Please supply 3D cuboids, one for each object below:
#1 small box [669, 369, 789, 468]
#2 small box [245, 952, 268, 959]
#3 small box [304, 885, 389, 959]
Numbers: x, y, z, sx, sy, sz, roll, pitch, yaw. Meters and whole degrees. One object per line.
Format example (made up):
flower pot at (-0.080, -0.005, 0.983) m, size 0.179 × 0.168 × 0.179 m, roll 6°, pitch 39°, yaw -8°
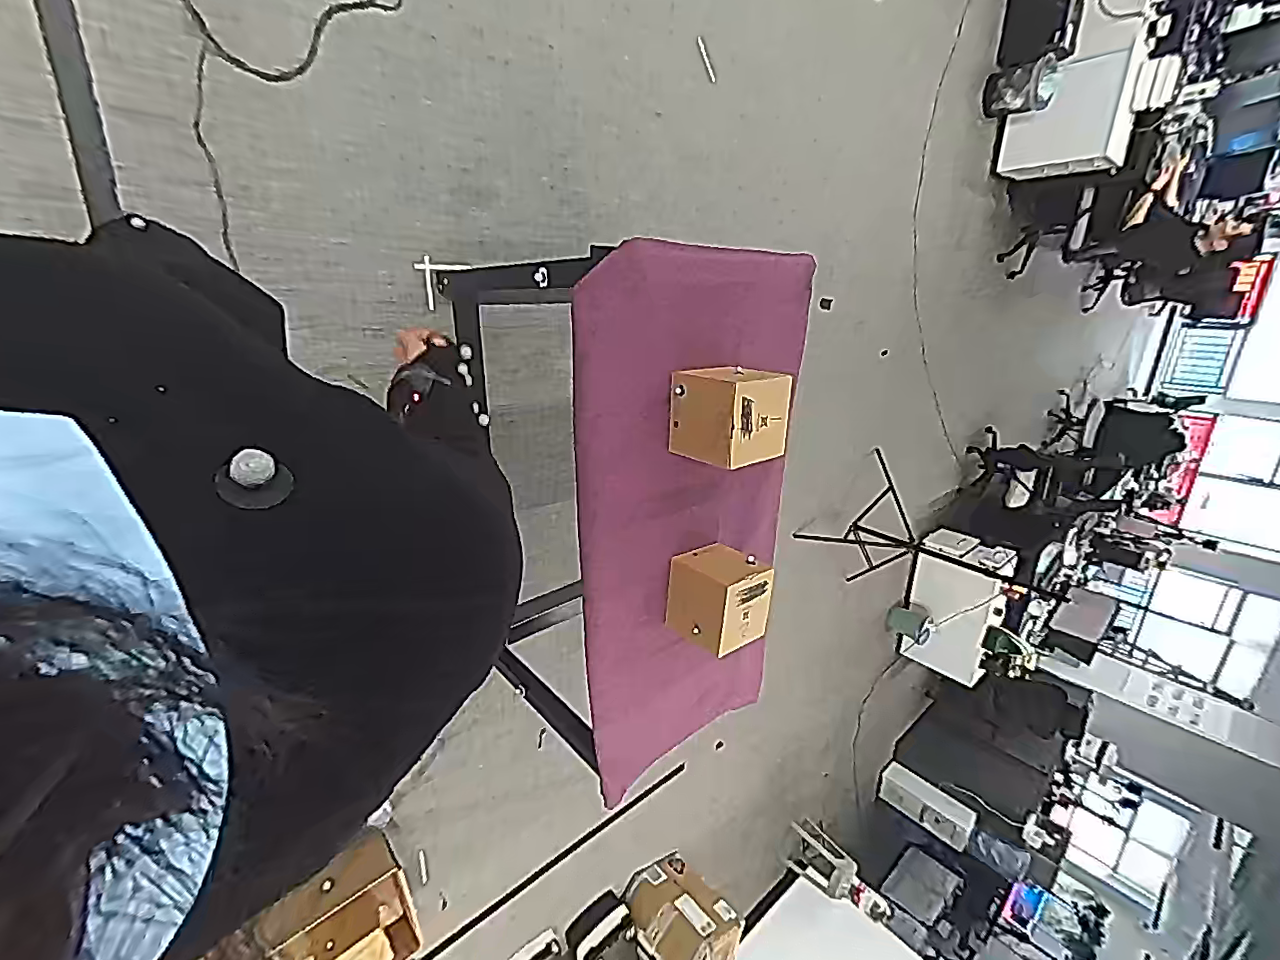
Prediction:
small box at (0.175, -0.132, 1.098) m, size 0.179 × 0.176 × 0.168 m, roll -14°, pitch 115°, yaw -39°
small box at (-1.077, 1.447, 1.459) m, size 0.168 × 0.176 × 0.179 m, roll -20°, pitch 117°, yaw -38°
small box at (-0.880, 1.379, 1.613) m, size 0.179 × 0.176 × 0.168 m, roll -21°, pitch 119°, yaw -35°
